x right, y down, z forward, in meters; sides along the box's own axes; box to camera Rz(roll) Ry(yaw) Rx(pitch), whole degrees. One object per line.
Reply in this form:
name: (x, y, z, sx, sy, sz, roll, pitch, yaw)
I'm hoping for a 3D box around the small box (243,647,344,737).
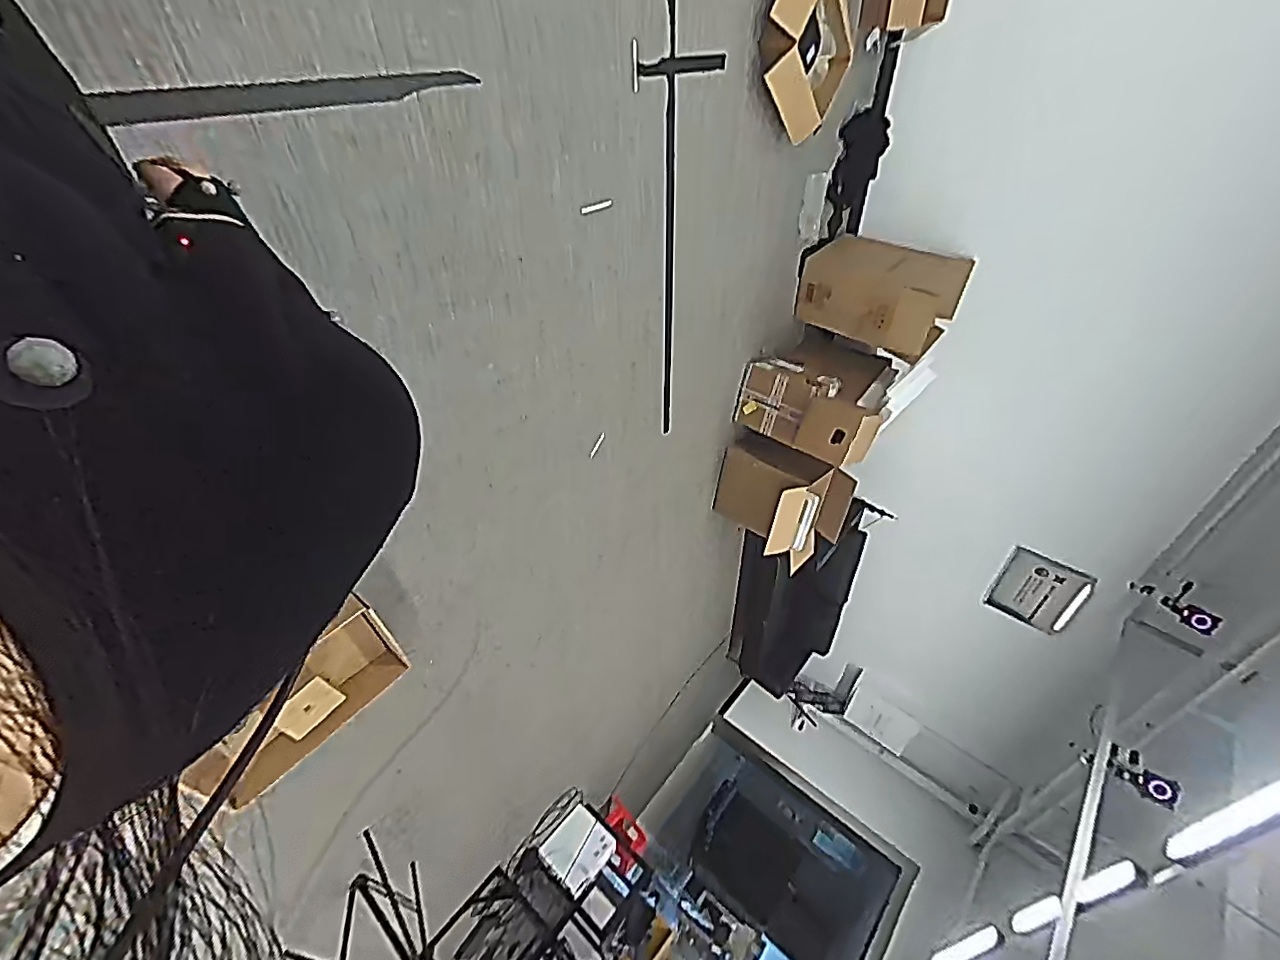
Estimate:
small box: (-1.067, 0.648, 1.668, 0.168, 0.176, 0.179, -45, 146, -28)
